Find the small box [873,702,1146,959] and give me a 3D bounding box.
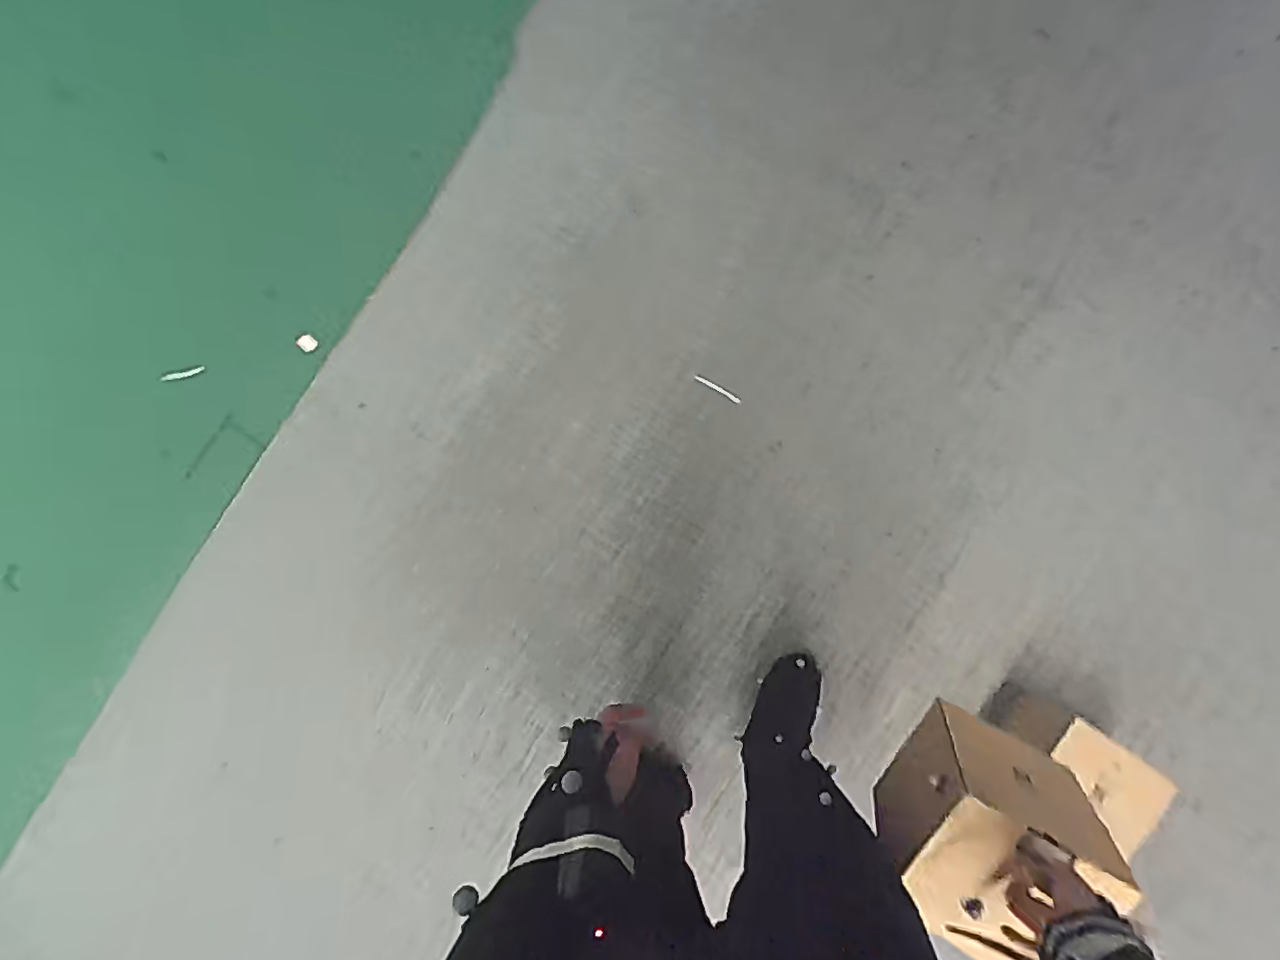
[{"bbox_3d":[0.379,0.397,0.601,0.168,0.179,0.176,28,108,12],"label":"small box"}]
